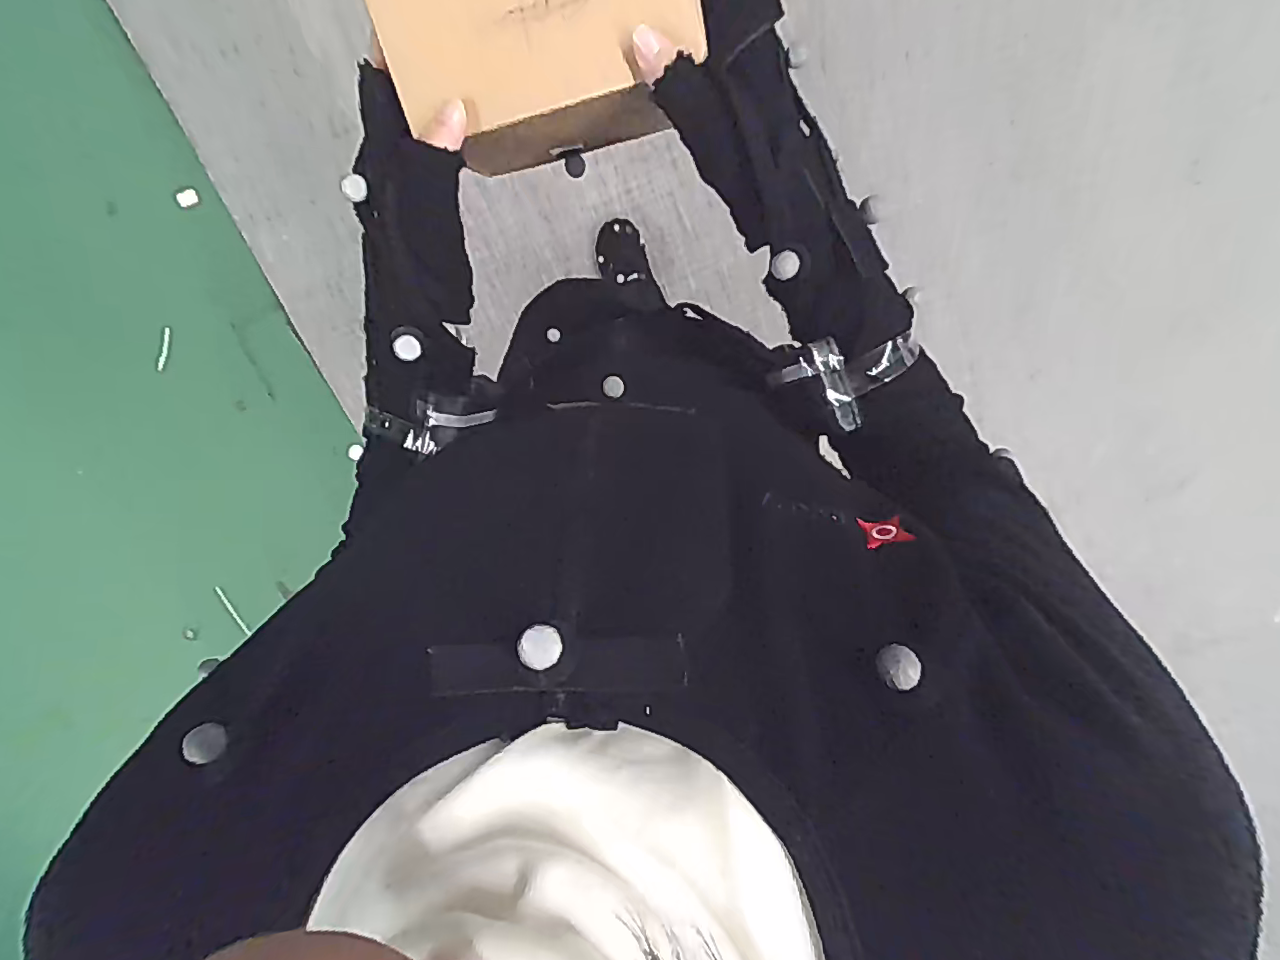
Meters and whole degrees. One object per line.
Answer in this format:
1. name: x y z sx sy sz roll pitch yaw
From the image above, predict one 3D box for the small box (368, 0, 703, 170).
1. small box: -0.064 -0.314 0.330 0.168 0.176 0.179 -12 113 7
